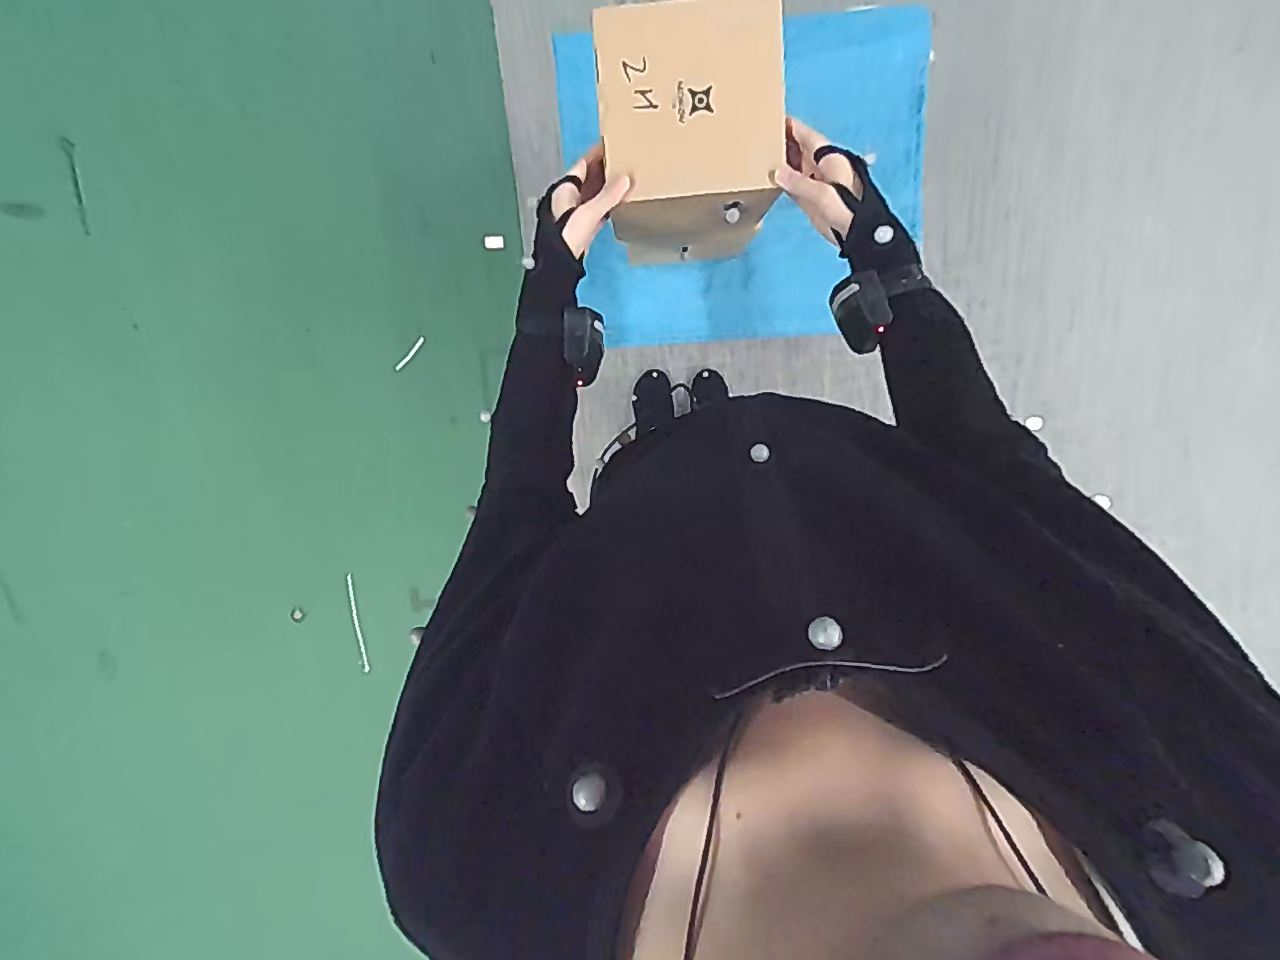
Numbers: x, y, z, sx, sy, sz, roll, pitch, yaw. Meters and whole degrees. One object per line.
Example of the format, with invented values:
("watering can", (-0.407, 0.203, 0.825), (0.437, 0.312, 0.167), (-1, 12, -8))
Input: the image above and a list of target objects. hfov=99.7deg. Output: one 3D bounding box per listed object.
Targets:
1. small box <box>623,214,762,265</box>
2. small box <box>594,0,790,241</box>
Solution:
("small box", (0.060, -0.398, 0.735), (0.179, 0.176, 0.168), (-4, 101, 2))
("small box", (0.050, -0.365, 0.575), (0.179, 0.176, 0.168), (-4, 101, 1))
